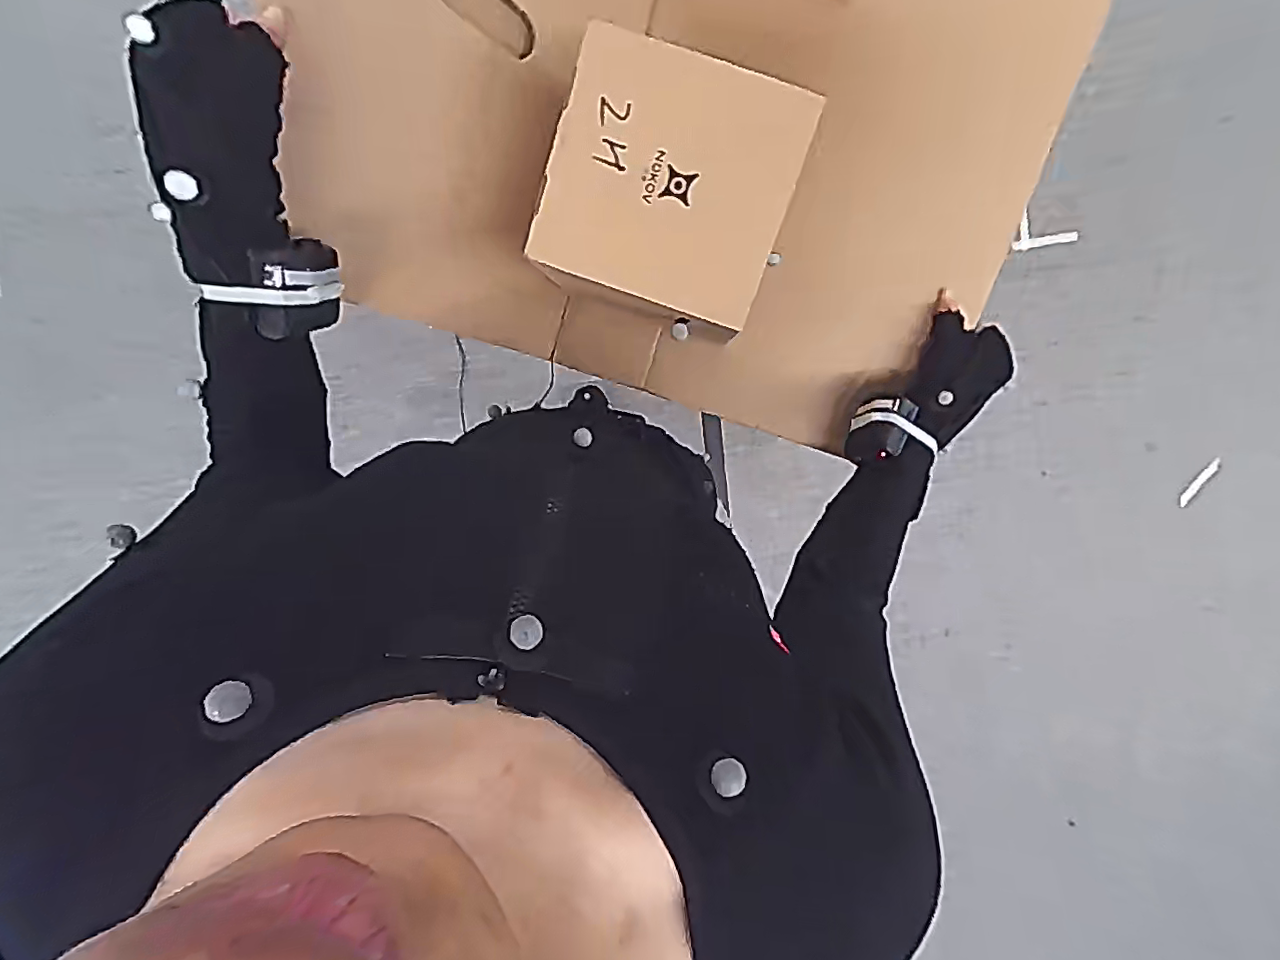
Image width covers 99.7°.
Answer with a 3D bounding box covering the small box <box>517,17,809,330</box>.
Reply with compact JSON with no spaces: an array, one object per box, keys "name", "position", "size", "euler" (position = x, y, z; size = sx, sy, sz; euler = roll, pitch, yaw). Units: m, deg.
[{"name":"small box","position":[0.019,-0.239,0.473],"size":[0.179,0.176,0.168],"euler":[19,101,1]}]
